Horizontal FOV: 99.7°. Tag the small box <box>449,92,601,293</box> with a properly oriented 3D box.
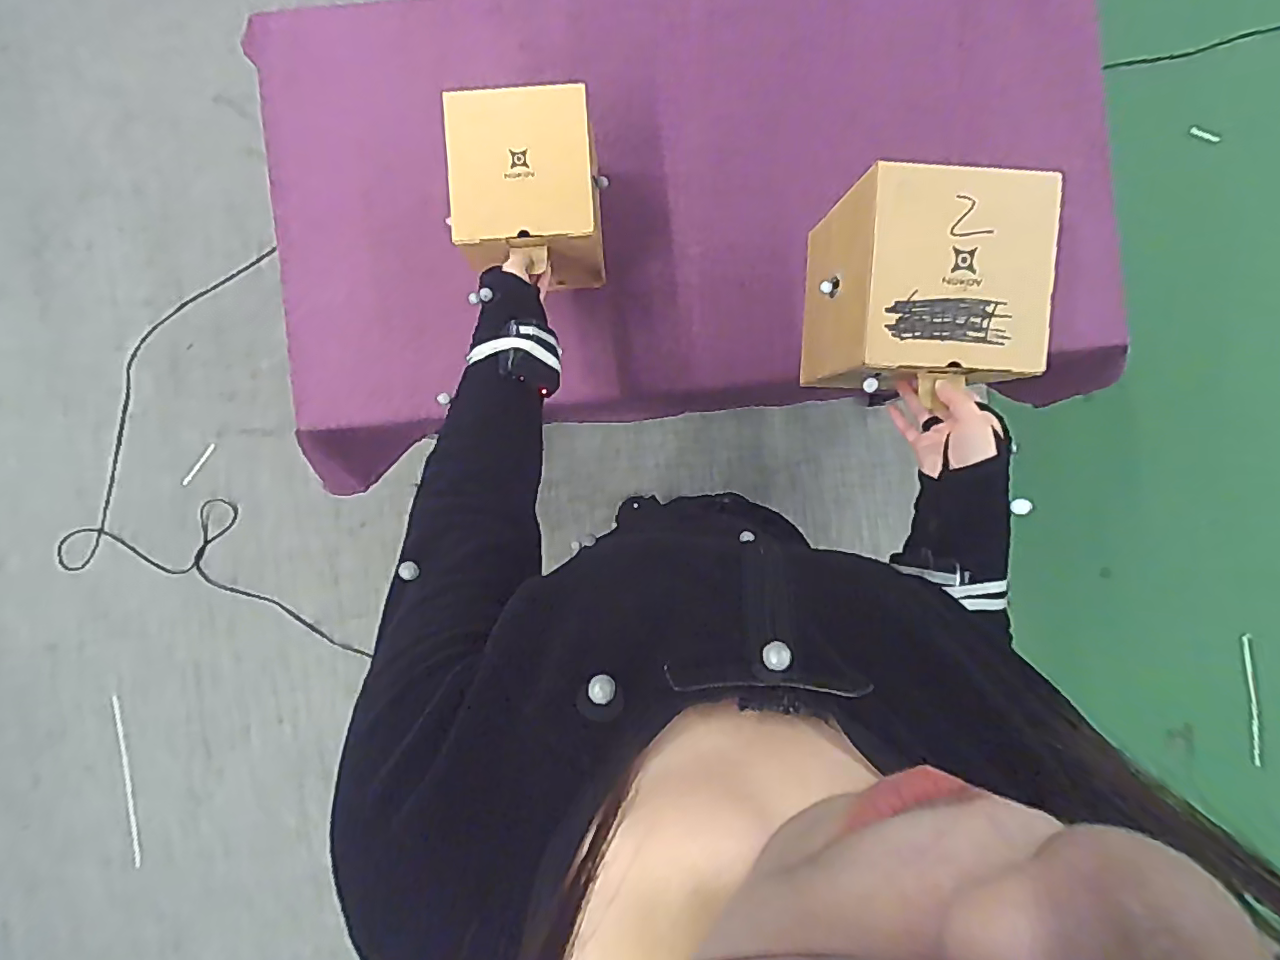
[{"bbox_3d":[-0.141,-0.366,0.715,0.168,0.176,0.179,-4,90,0],"label":"small box"}]
